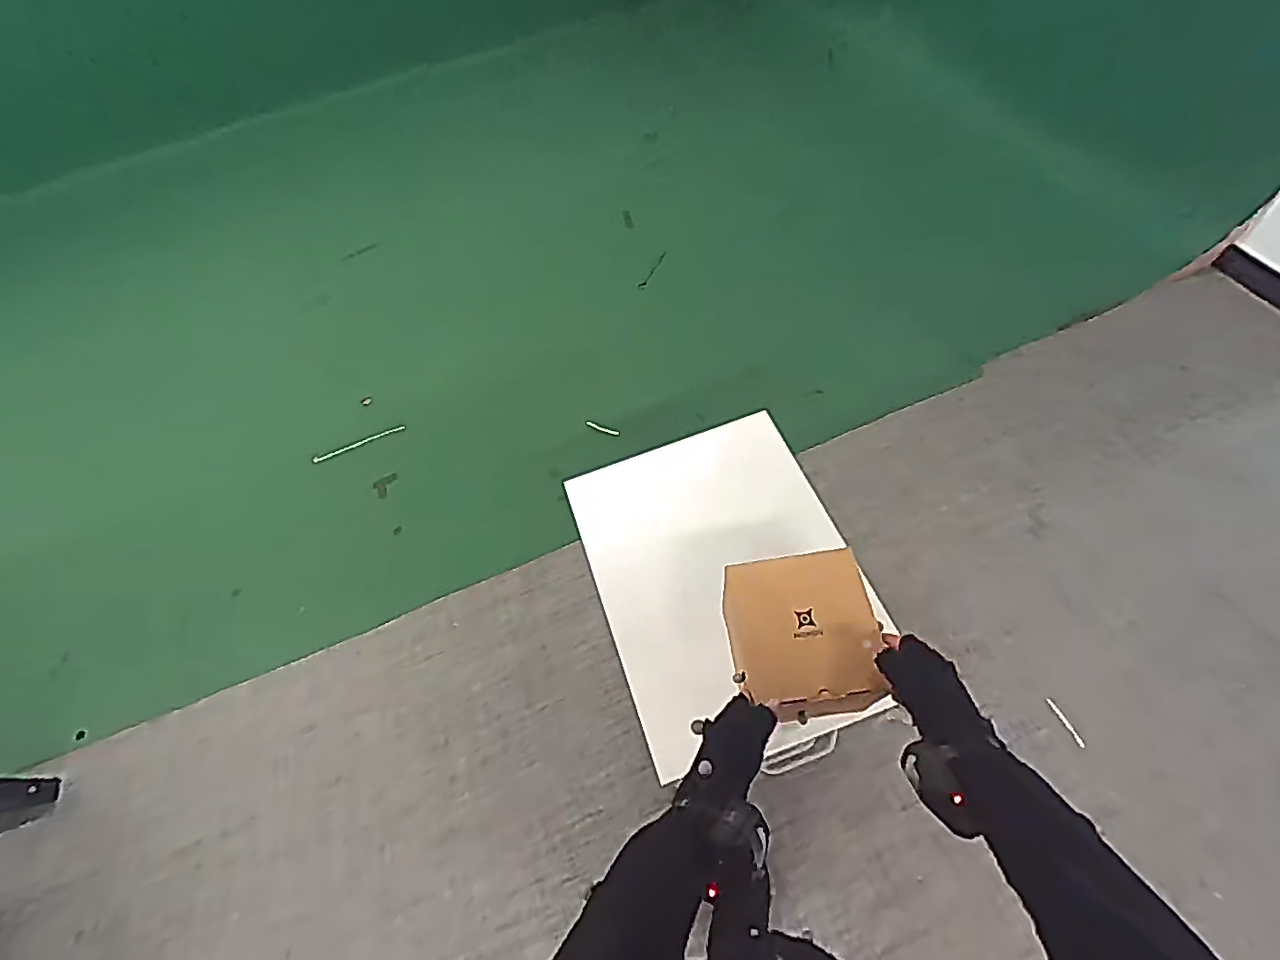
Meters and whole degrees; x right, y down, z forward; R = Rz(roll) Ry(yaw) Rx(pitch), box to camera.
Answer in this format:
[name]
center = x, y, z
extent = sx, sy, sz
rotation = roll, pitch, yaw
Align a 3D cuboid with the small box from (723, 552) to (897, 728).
[small box]
center = 0.206, 0.217, 0.716
extent = 0.168, 0.176, 0.179
rotation = -9, 59, 2
